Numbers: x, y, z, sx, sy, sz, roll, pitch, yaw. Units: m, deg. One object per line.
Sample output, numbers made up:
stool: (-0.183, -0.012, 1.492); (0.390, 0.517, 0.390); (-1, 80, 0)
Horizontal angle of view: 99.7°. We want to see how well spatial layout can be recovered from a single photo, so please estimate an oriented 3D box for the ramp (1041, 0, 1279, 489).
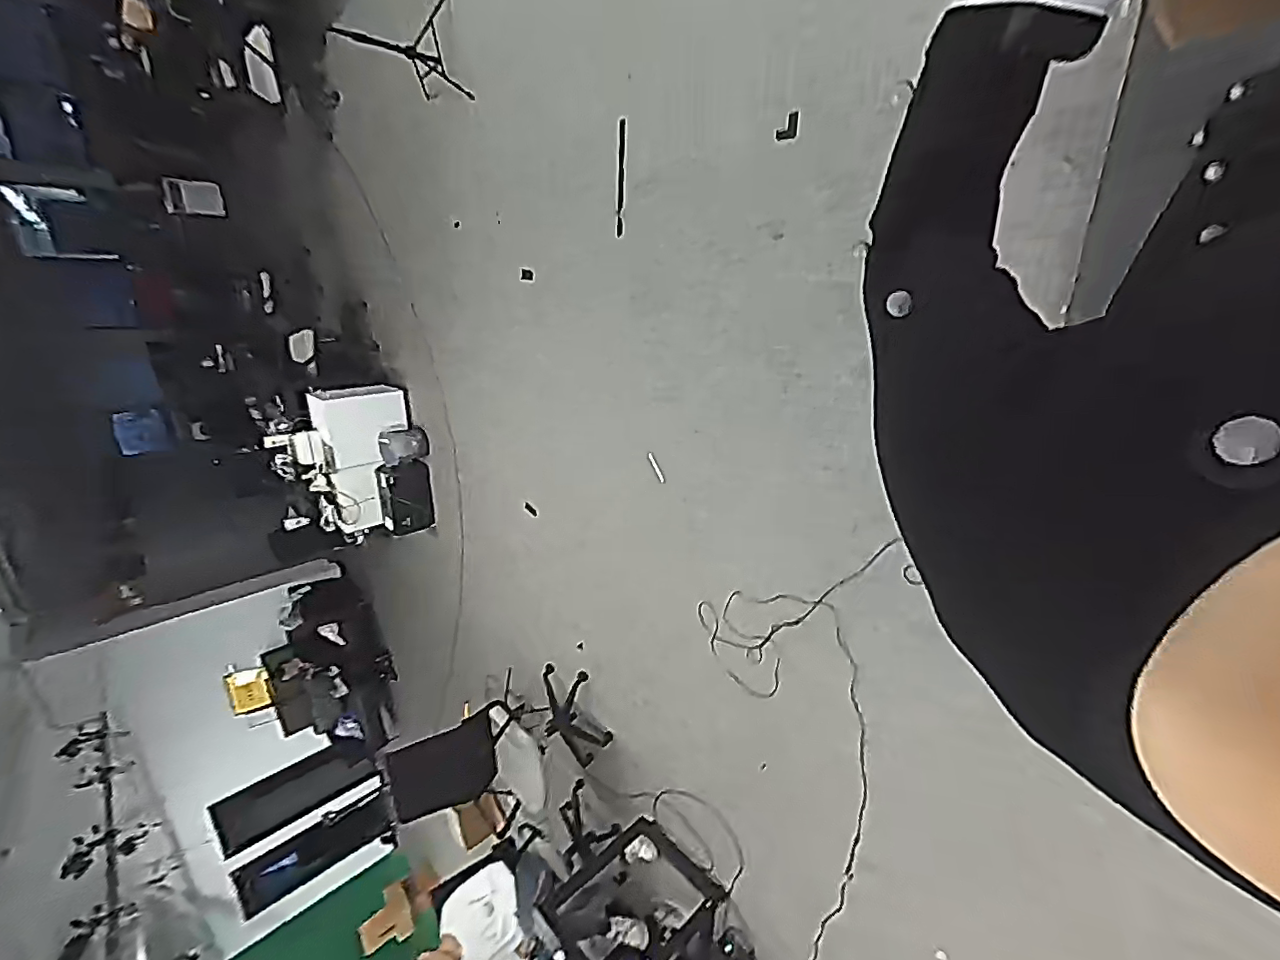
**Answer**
ramp: (1.079, -0.459, 0.920); (0.509, 0.206, 0.991); (17, 116, 42)
